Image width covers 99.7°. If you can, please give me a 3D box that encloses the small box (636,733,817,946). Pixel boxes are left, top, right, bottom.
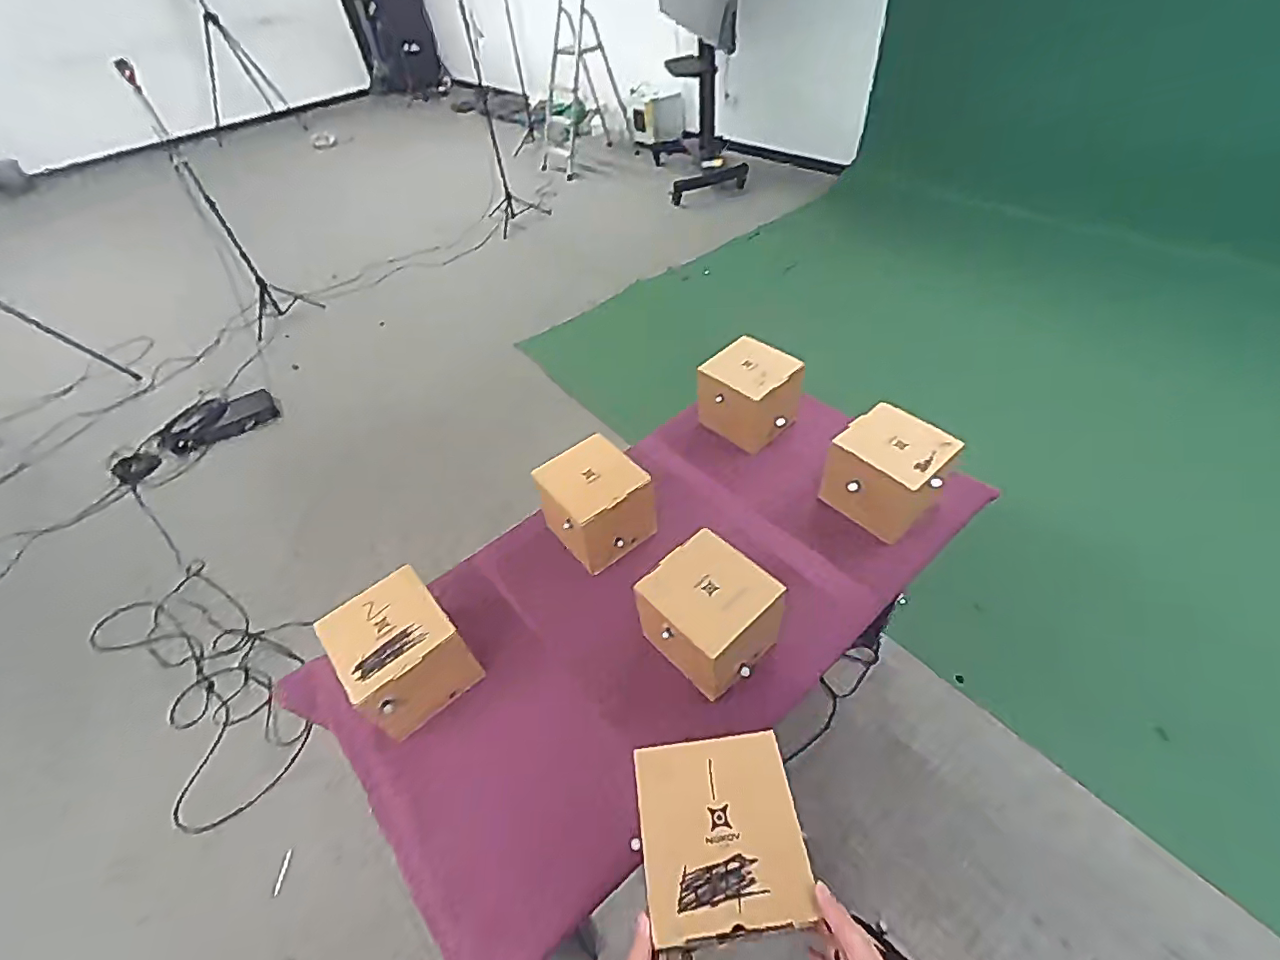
[{"bbox_3d":[0.090,0.420,0.629,0.168,0.176,0.179,-7,47,-1],"label":"small box"}]

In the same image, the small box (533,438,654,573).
[{"bbox_3d":[-0.089,0.053,1.094,0.168,0.176,0.179,-34,54,-21],"label":"small box"}]

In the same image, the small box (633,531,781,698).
[{"bbox_3d":[0.112,0.226,0.904,0.168,0.176,0.179,-36,52,-21],"label":"small box"}]

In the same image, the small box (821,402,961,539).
[{"bbox_3d":[0.480,-0.016,1.063,0.168,0.176,0.179,-36,53,-20],"label":"small box"}]

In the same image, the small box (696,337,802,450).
[{"bbox_3d":[0.251,-0.200,1.263,0.168,0.176,0.179,-39,54,-21],"label":"small box"}]
